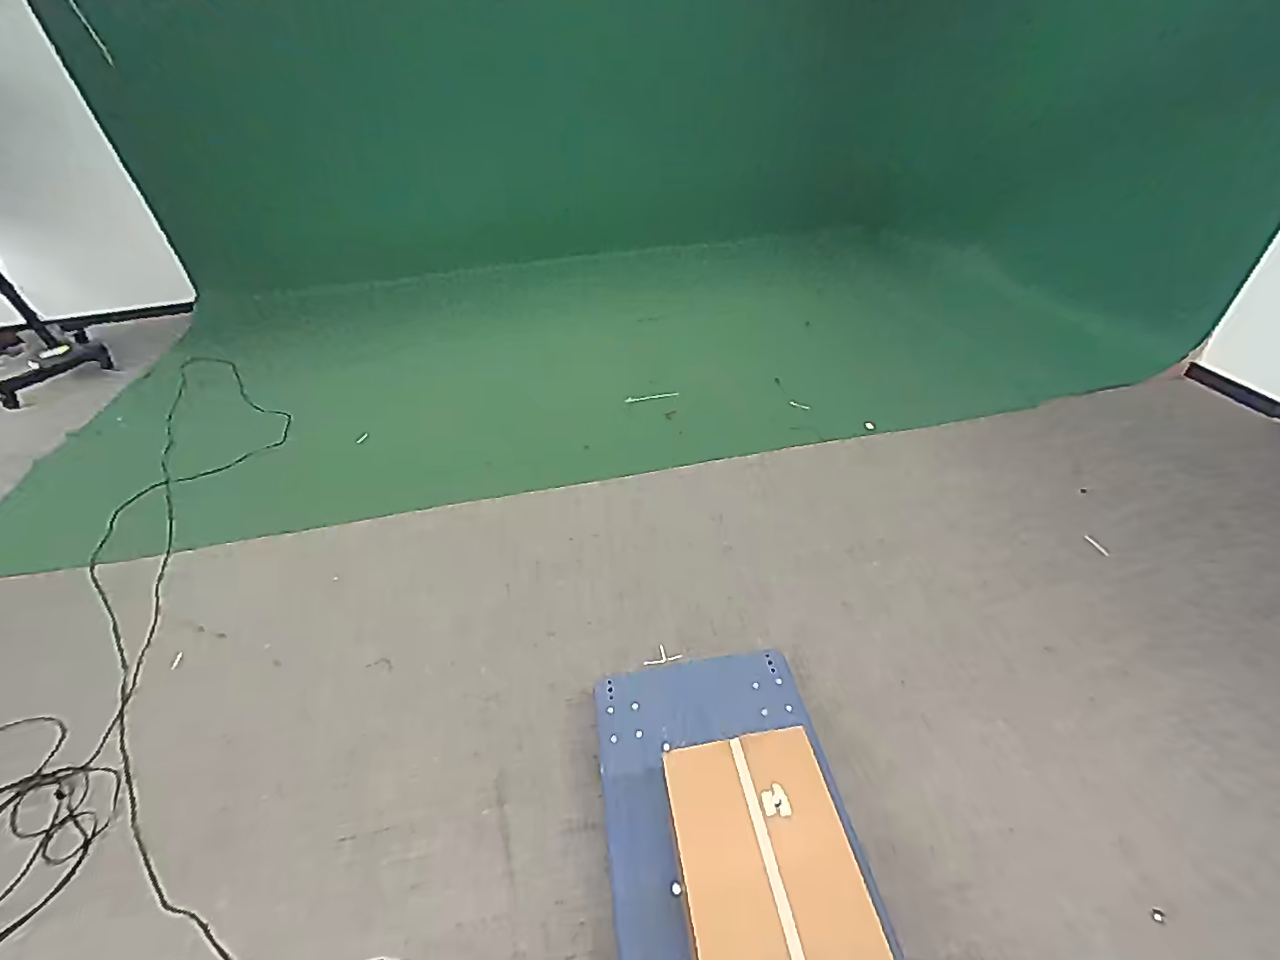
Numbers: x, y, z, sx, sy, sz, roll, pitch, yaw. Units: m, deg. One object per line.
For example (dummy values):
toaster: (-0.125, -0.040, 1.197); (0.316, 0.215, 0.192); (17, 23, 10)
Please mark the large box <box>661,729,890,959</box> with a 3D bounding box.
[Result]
large box: (0.238, 0.802, 1.105); (0.320, 0.320, 0.408); (-8, 39, -5)
